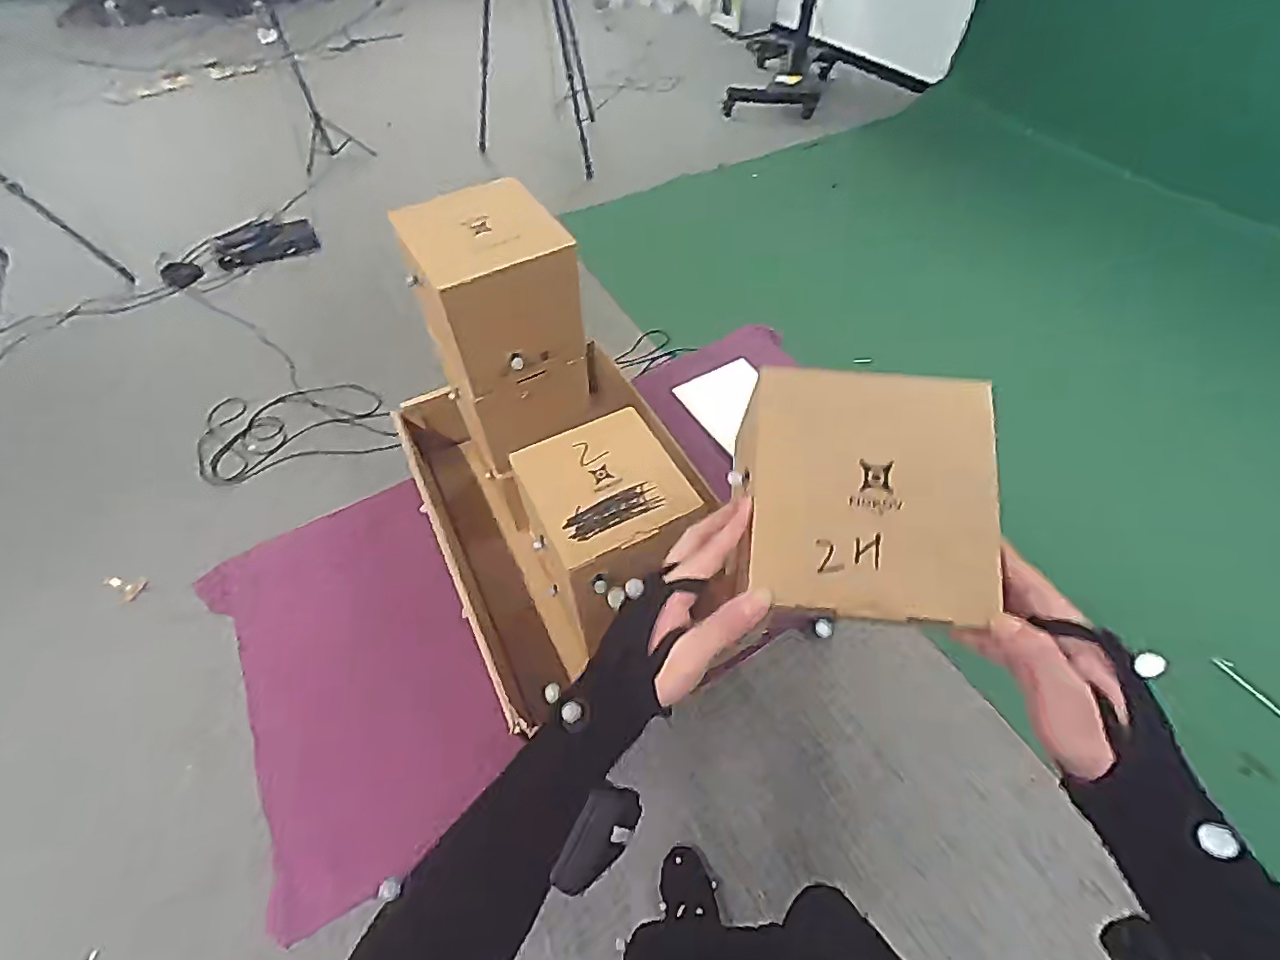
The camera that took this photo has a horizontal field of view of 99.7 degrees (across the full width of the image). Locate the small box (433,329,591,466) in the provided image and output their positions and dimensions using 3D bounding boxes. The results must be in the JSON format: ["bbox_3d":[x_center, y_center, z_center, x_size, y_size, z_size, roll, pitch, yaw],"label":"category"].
[{"bbox_3d":[-0.185,-0.143,0.822,0.168,0.176,0.179,-26,58,-18],"label":"small box"}]

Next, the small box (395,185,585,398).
[{"bbox_3d":[-0.182,-0.238,0.690,0.168,0.176,0.179,-26,60,-18],"label":"small box"}]

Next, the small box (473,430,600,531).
[{"bbox_3d":[-0.183,-0.042,0.952,0.168,0.176,0.179,-26,59,-18],"label":"small box"}]

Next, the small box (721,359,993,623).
[{"bbox_3d":[0.160,0.021,0.452,0.168,0.176,0.179,5,76,5],"label":"small box"}]
